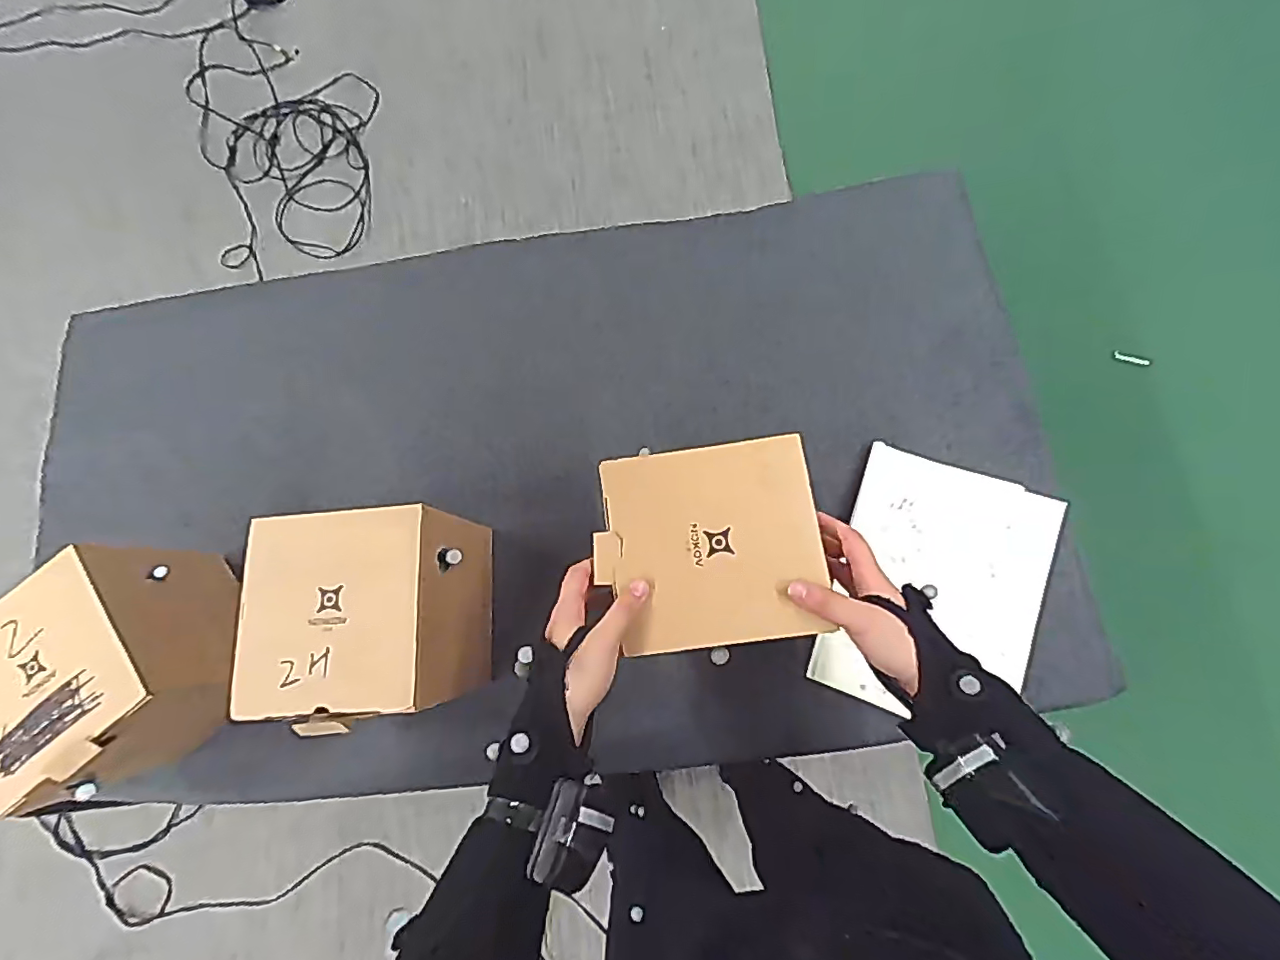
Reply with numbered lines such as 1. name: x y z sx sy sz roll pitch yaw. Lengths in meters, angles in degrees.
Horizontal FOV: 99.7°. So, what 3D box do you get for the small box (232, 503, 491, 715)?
1. small box: -0.262 0.129 0.549 0.168 0.176 0.179 -6 77 6
